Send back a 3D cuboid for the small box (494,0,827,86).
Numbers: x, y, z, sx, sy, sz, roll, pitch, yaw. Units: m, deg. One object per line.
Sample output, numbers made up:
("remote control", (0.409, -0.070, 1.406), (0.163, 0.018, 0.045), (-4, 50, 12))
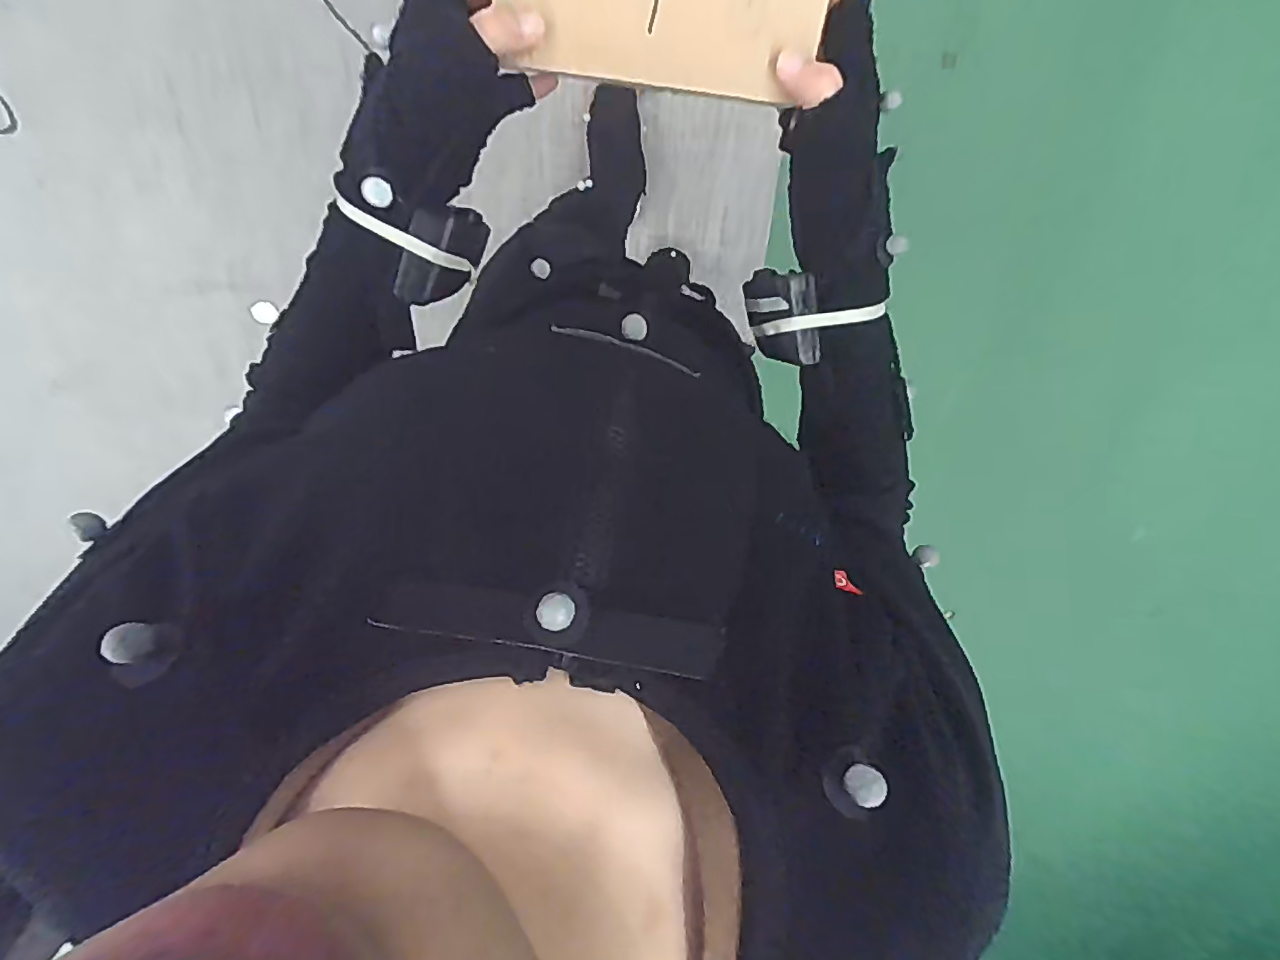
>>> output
("small box", (0.022, -0.334, 0.295), (0.168, 0.176, 0.179), (8, 126, -1))
